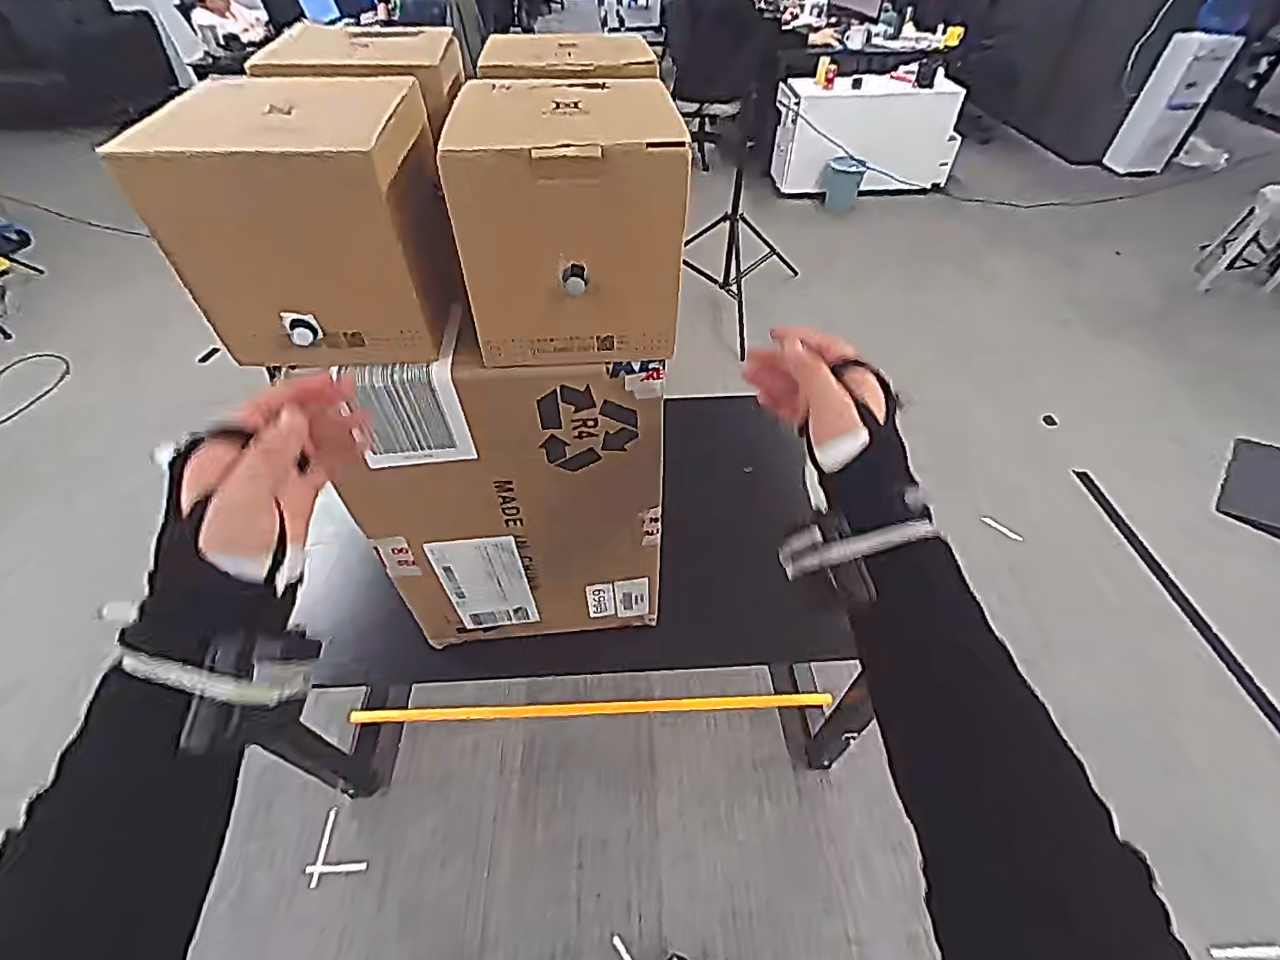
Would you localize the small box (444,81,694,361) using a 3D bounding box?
[{"bbox_3d":[-0.053,-0.216,0.461,0.168,0.176,0.179,-2,49,-6],"label":"small box"}]
